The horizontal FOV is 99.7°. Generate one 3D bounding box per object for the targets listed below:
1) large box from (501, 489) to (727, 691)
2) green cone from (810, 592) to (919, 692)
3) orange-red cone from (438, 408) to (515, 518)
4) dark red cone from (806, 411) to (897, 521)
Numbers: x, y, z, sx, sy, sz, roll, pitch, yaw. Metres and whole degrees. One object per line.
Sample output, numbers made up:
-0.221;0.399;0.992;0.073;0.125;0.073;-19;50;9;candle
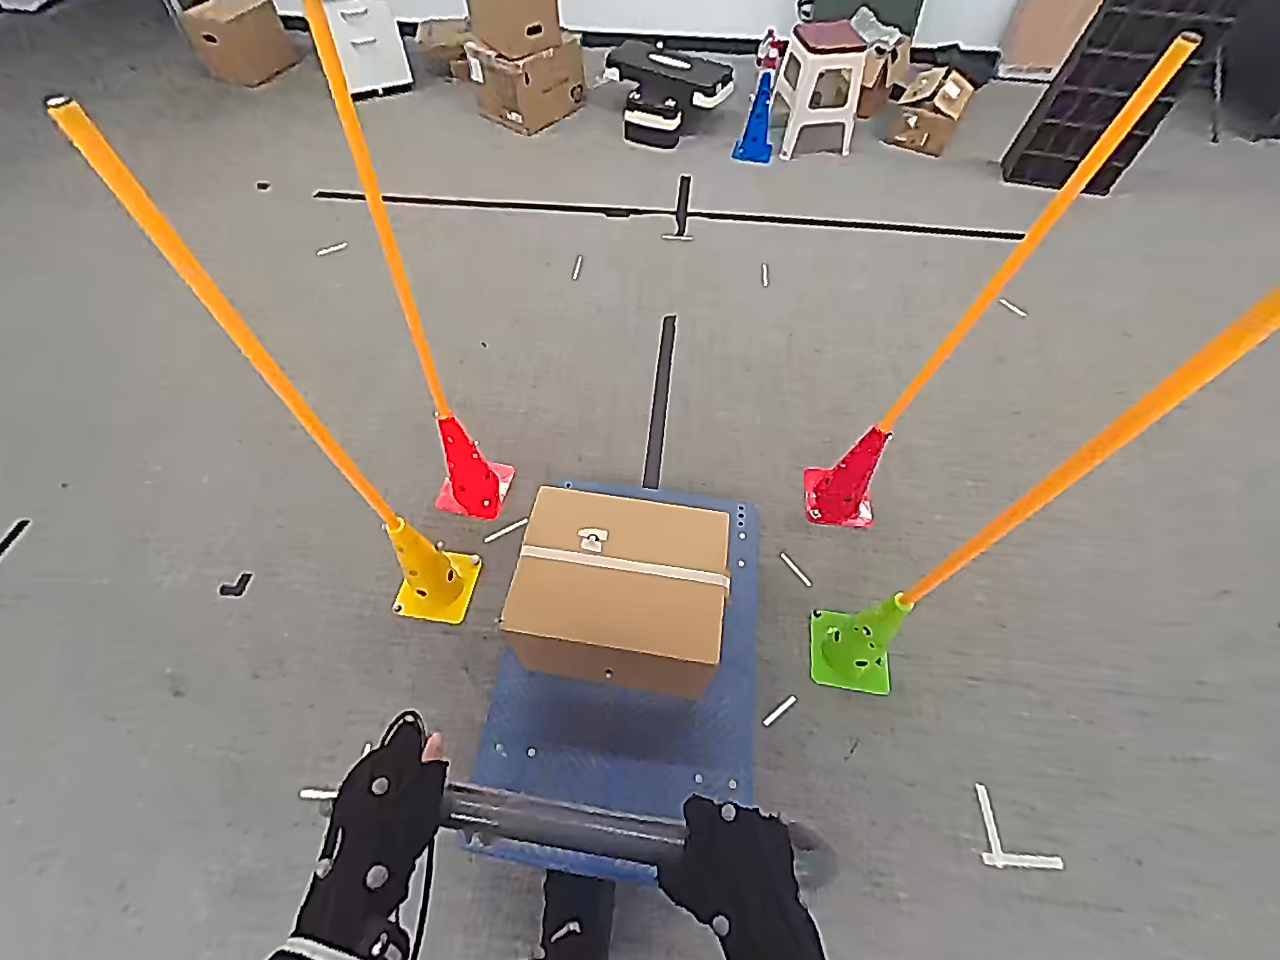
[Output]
-0.037;0.249;1.180;0.408;0.320;0.320;8;57;5;large box
0.560;0.355;1.296;0.202;0.368;0.200;9;57;3;green cone
-0.505;-0.077;1.558;0.198;0.360;0.199;12;56;6;orange-red cone
0.629;-0.056;1.545;0.201;0.394;0.202;6;57;1;dark red cone
